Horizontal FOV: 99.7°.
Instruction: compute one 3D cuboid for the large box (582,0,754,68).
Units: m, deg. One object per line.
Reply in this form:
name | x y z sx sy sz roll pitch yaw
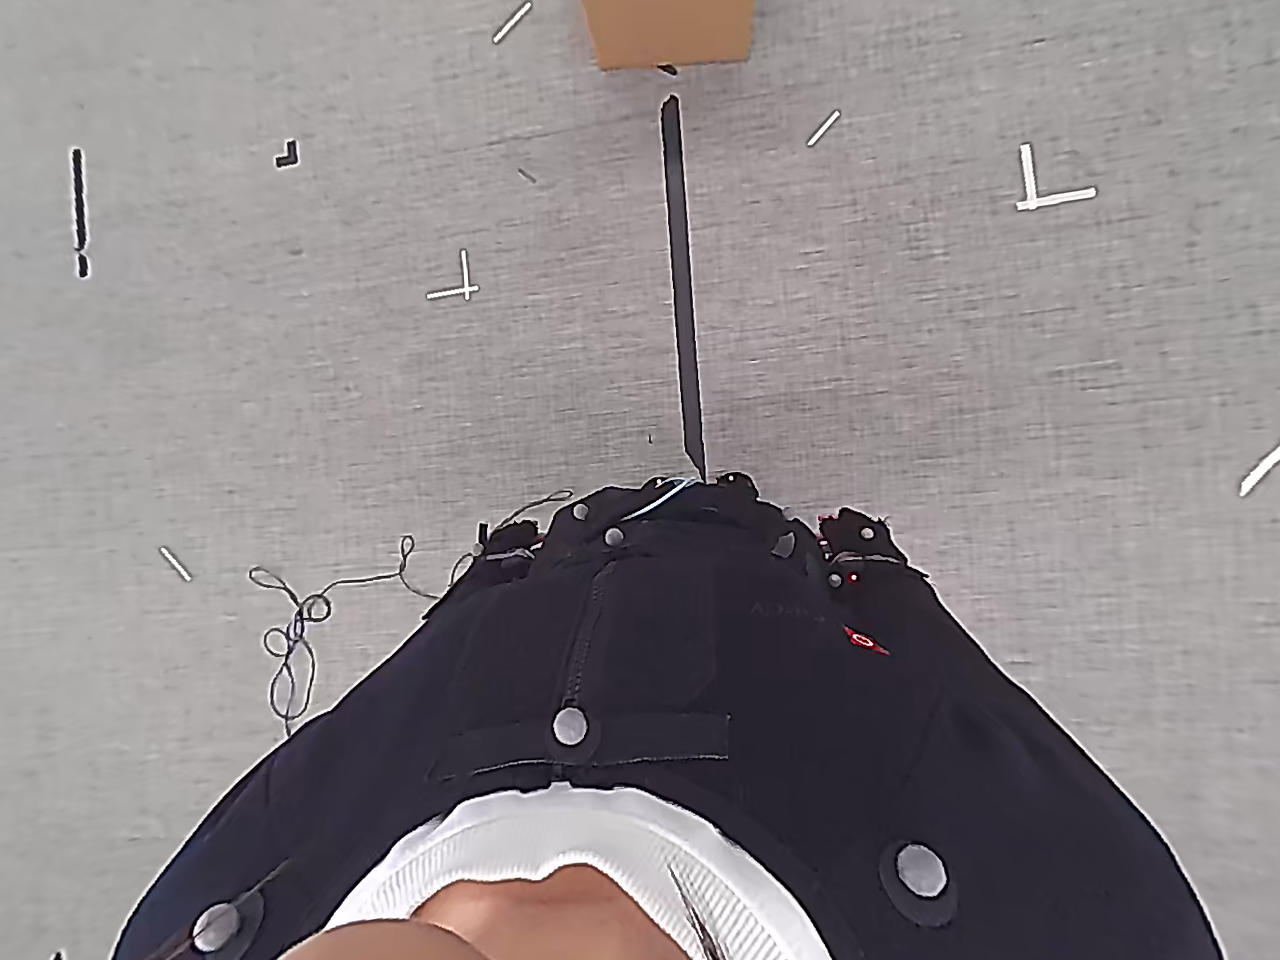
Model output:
large box | 0.067 -1.252 1.284 0.408 0.320 0.320 2 92 6
